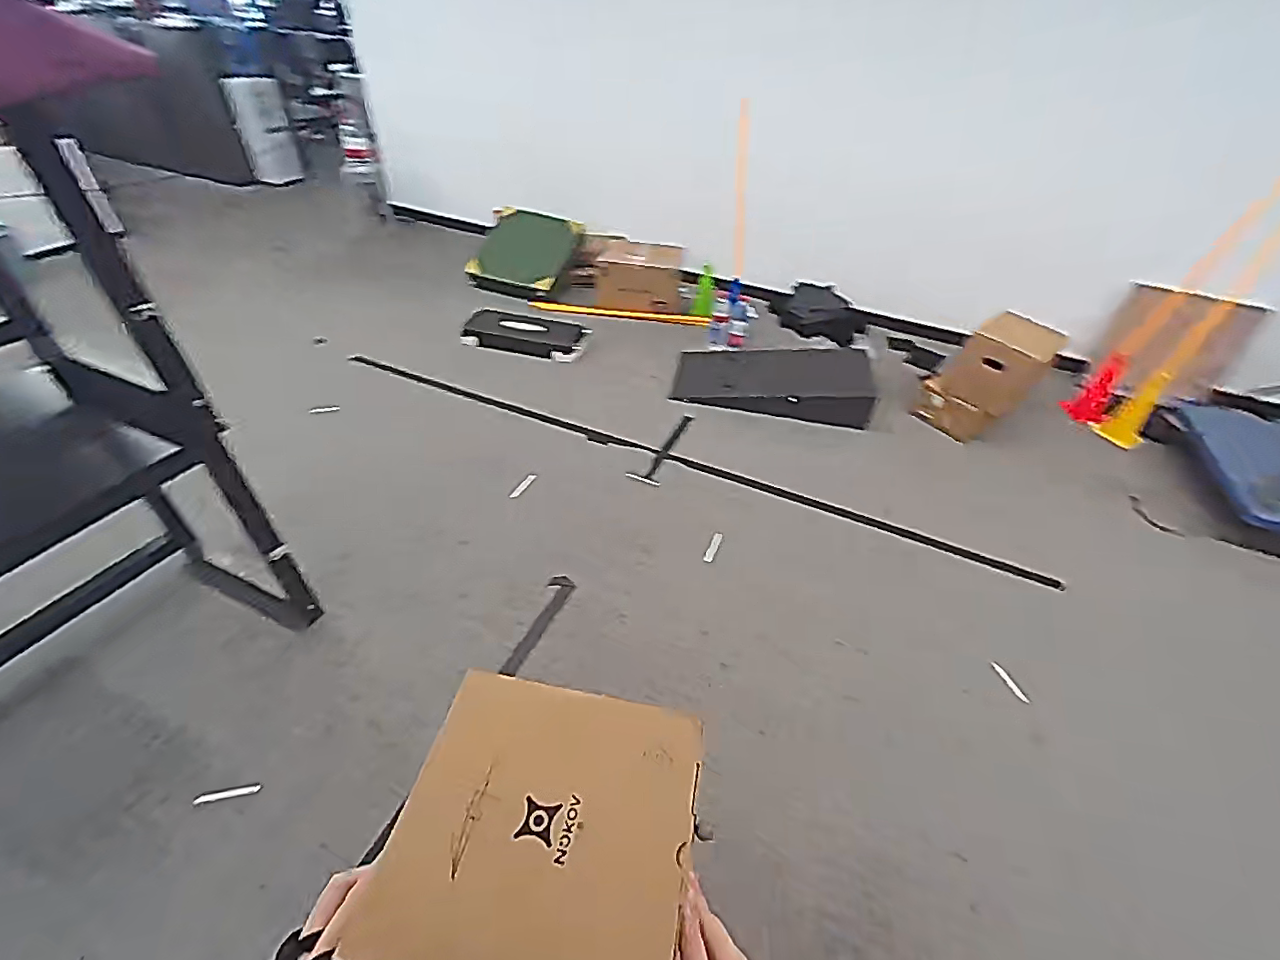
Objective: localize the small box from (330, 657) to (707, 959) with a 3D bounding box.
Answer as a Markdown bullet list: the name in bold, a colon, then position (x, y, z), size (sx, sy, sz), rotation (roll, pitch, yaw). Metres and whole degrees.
- **small box**: position (-0.055, 0.250, 0.369), size (0.179, 0.176, 0.168), rotation (7, 42, 10)
